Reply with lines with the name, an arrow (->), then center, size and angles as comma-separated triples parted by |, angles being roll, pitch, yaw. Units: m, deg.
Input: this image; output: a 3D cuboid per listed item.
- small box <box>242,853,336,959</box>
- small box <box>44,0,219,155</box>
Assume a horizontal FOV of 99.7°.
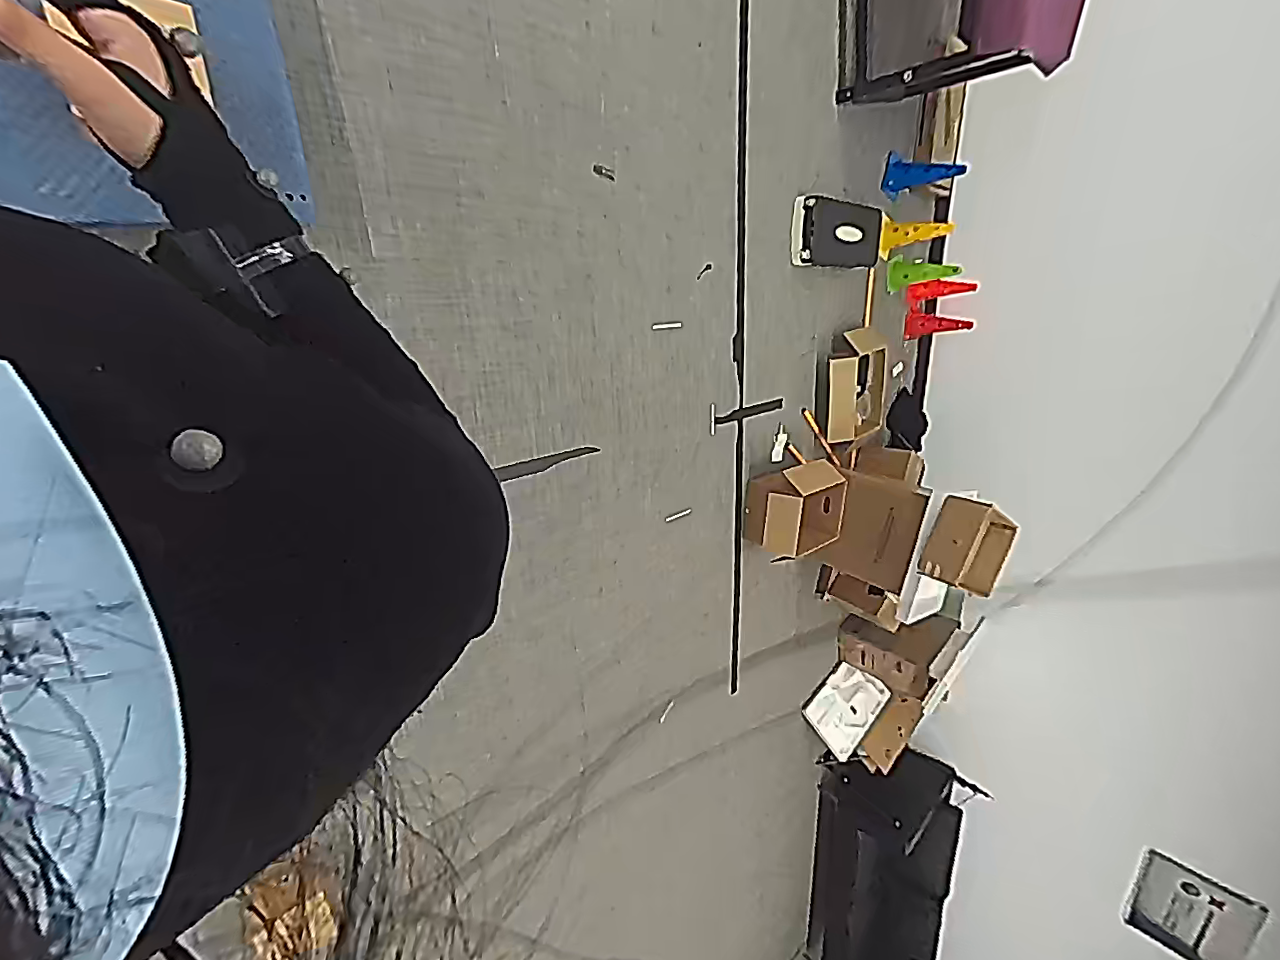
small box -> -0.969, 1.189, 1.491 | 0.168, 0.176, 0.179 | -21, 116, -38
small box -> -0.775, -0.626, 0.829 | 0.168, 0.176, 0.179 | -15, 113, -39
